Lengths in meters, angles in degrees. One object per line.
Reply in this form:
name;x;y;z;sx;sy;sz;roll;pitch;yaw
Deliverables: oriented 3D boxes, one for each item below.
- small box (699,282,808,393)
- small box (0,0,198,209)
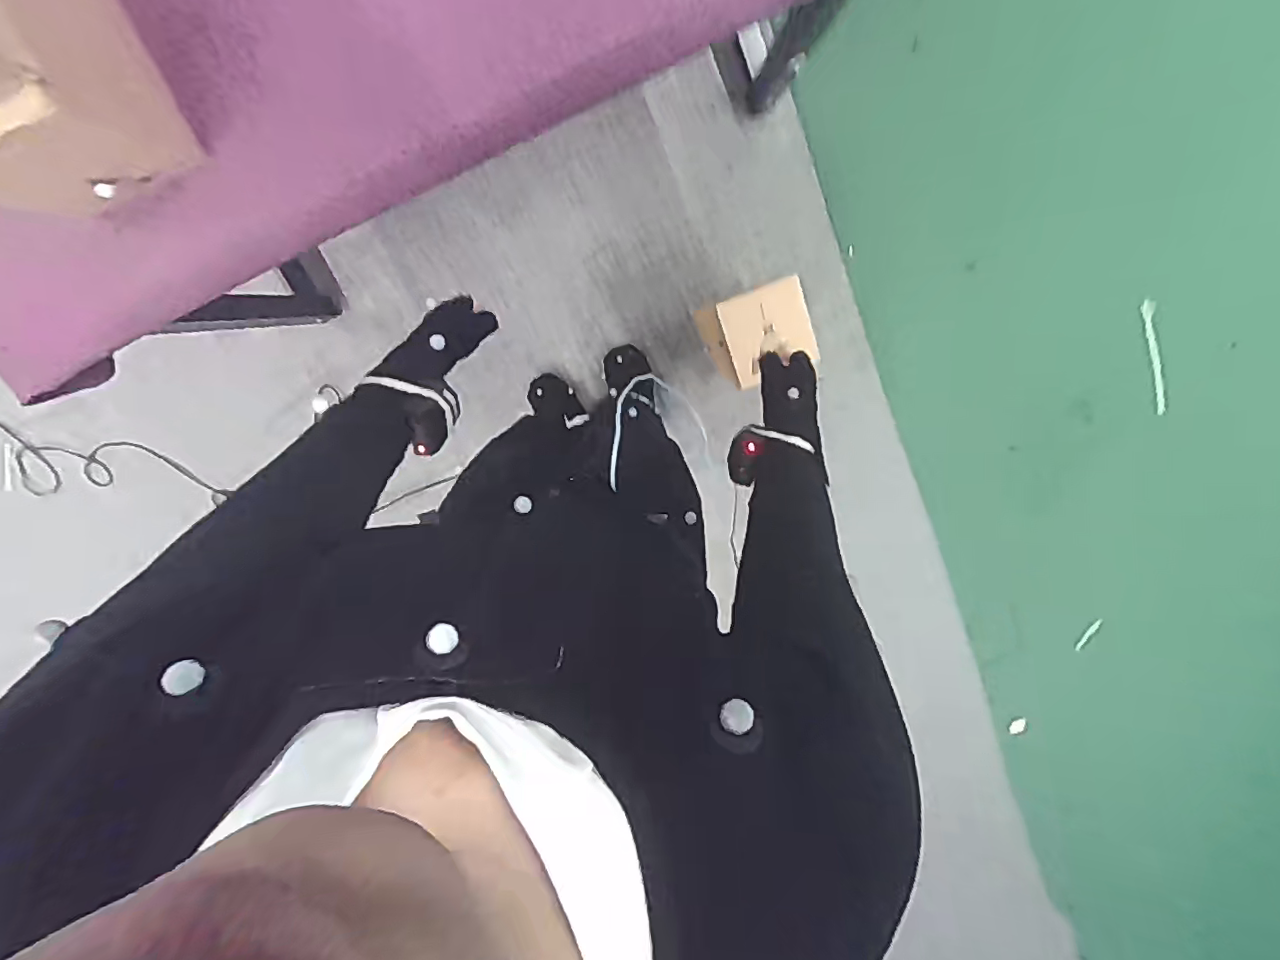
small box;0.232;-0.303;1.139;0.168;0.176;0.179;-19;106;5
small box;-0.580;-0.379;0.498;0.168;0.176;0.179;-19;107;5
